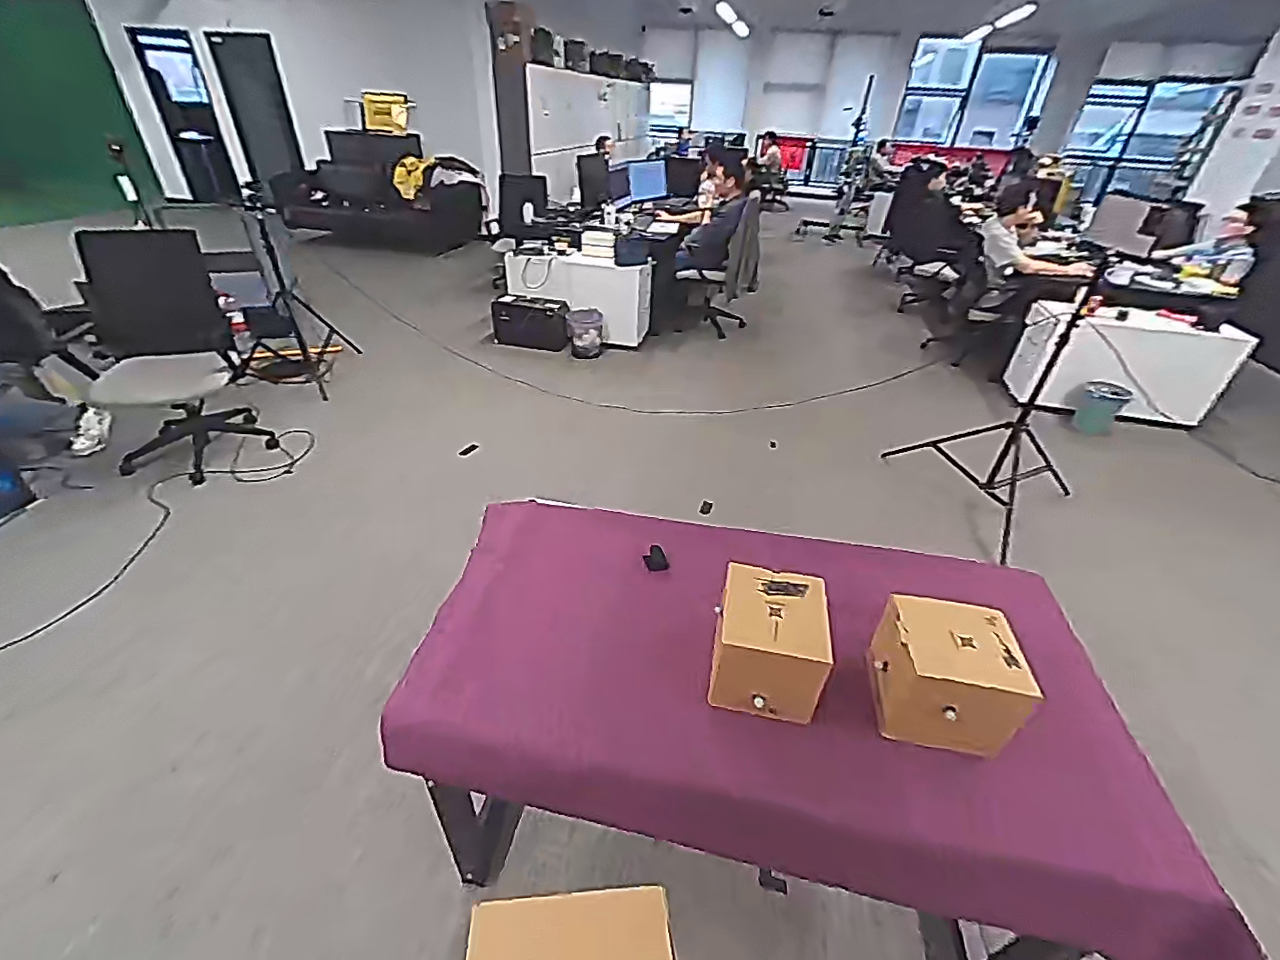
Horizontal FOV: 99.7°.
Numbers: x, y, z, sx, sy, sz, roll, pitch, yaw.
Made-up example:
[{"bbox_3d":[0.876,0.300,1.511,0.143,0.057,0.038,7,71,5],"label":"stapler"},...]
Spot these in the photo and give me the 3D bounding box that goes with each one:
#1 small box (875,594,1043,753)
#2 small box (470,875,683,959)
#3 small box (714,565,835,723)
[{"bbox_3d":[0.496,0.313,0.878,0.179,0.176,0.168,7,35,8],"label":"small box"},{"bbox_3d":[-0.052,0.476,0.452,0.179,0.176,0.168,-1,22,-8],"label":"small box"},{"bbox_3d":[0.220,0.274,0.915,0.168,0.176,0.179,8,35,8],"label":"small box"}]
